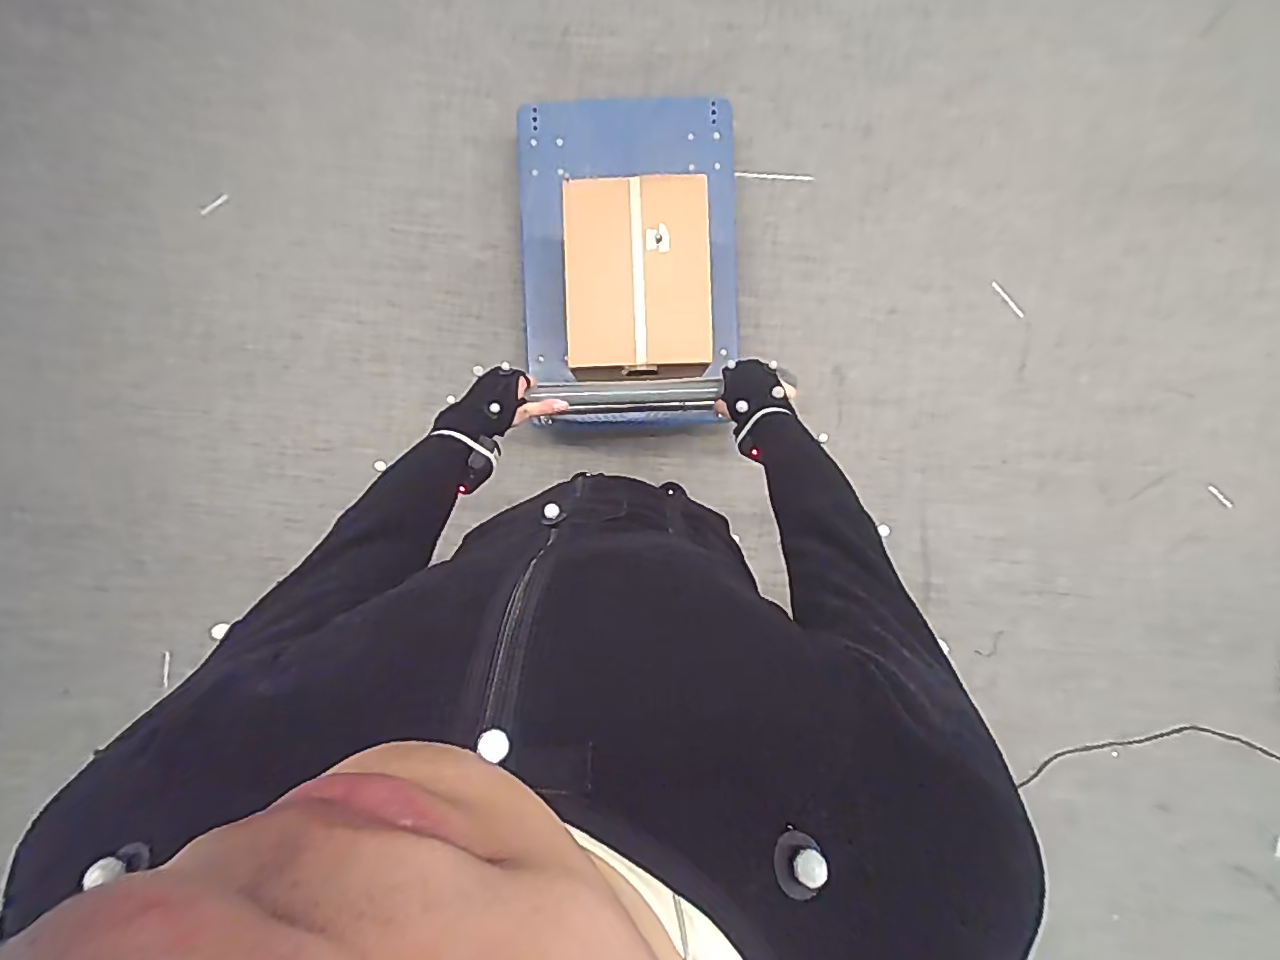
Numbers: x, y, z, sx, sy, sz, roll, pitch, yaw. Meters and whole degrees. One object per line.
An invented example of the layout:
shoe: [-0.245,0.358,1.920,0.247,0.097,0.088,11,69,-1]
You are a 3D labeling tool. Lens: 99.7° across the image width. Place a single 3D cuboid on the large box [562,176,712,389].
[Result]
large box: [-0.005,-0.450,1.314,0.320,0.320,0.408,-2,91,0]
